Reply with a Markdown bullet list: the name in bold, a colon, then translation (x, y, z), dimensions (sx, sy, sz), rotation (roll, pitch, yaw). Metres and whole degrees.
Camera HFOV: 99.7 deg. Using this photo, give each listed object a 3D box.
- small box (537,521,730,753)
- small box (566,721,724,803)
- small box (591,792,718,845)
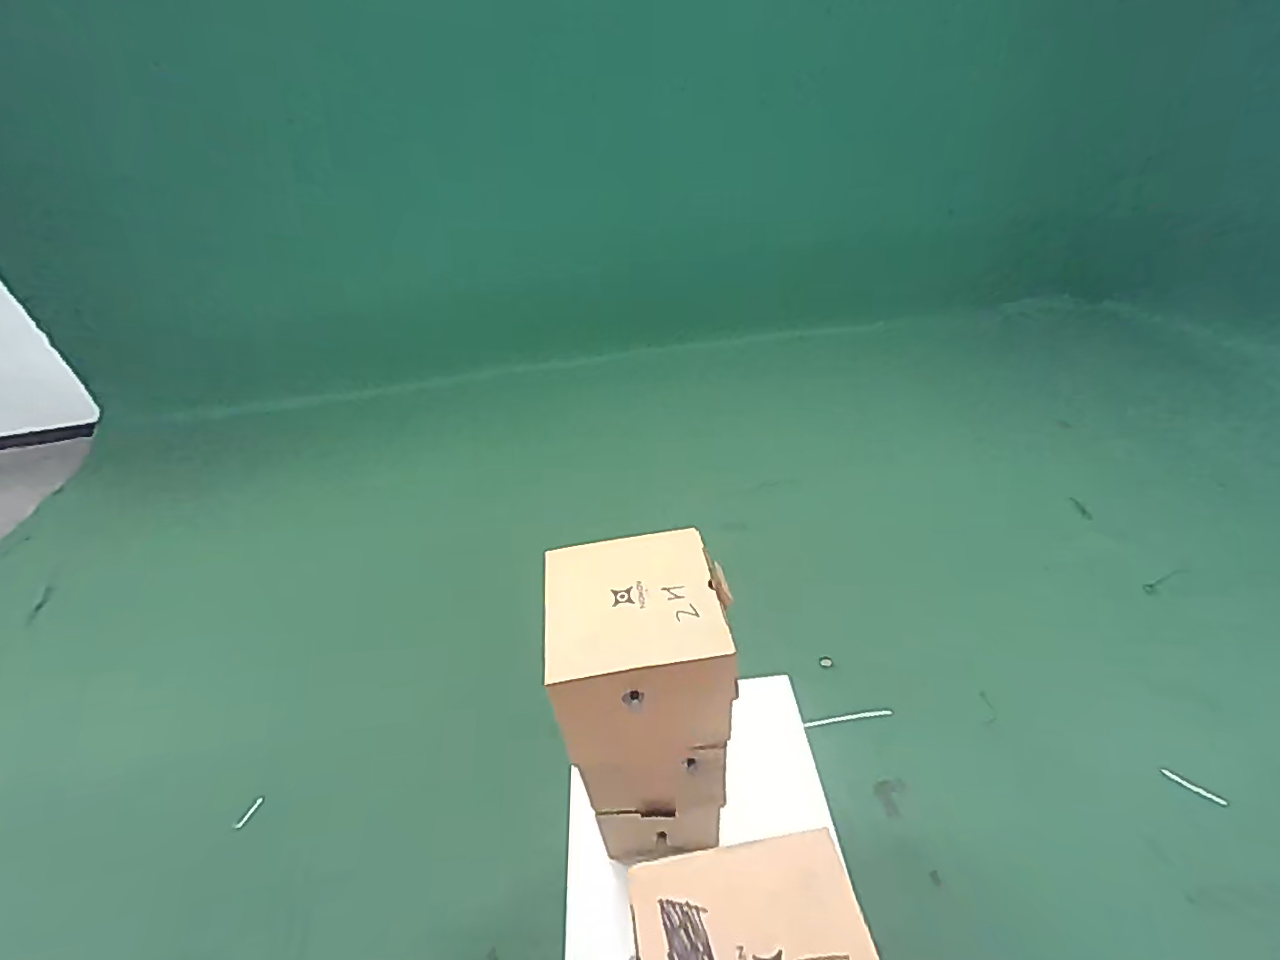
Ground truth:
- **small box**: translation (-0.006, 0.171, 0.585), dimensions (0.179, 0.176, 0.168), rotation (-8, 40, -3)
- **small box**: translation (0.012, 0.293, 0.693), dimensions (0.179, 0.176, 0.168), rotation (-4, 39, 2)
- **small box**: translation (0.023, 0.417, 0.798), dimensions (0.168, 0.176, 0.179), rotation (-5, 40, 1)
